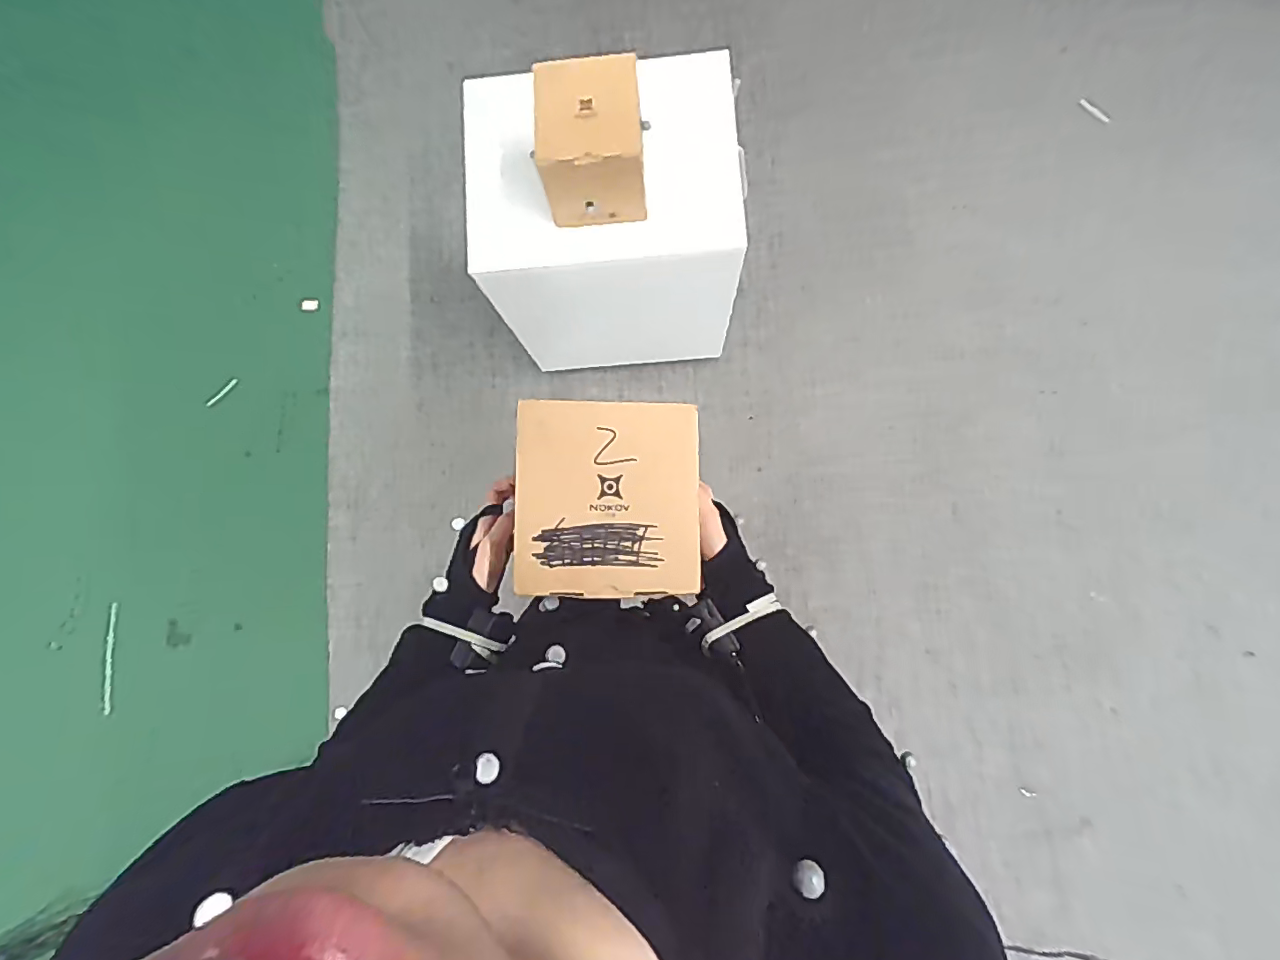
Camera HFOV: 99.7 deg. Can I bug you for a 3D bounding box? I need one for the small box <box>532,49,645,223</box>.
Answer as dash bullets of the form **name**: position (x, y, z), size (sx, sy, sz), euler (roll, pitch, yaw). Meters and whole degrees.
- **small box**: position (-0.079, -0.559, 0.897), size (0.168, 0.176, 0.179), euler (-4, 82, 3)
